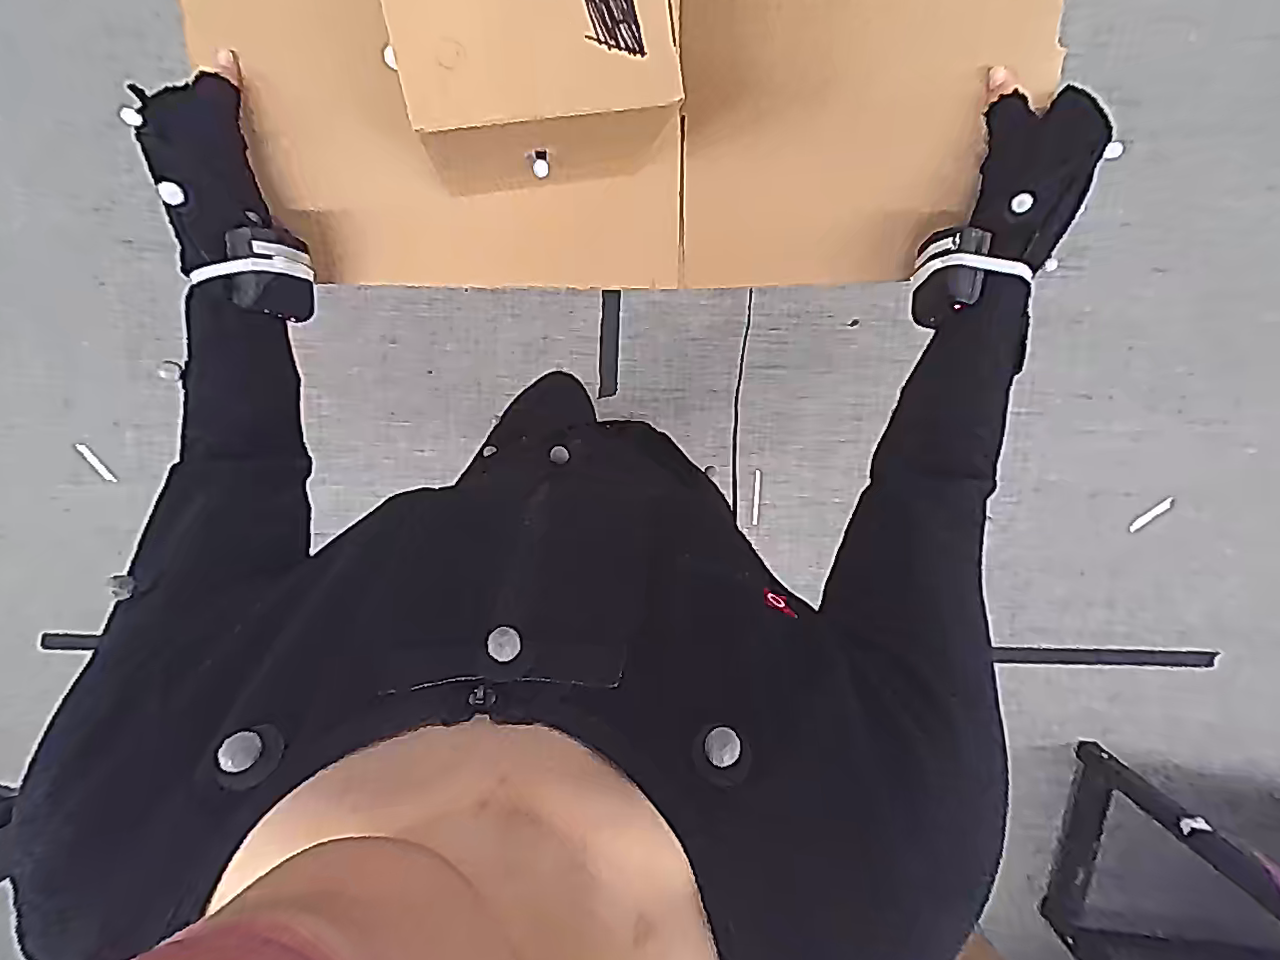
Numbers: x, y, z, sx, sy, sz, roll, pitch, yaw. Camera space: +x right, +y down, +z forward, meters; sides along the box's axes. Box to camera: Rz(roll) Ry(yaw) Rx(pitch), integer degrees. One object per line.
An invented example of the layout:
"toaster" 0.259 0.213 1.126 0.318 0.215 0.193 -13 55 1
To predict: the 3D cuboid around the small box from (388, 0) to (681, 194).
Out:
"small box" -0.083 -0.332 0.406 0.179 0.176 0.168 -12 106 -8
